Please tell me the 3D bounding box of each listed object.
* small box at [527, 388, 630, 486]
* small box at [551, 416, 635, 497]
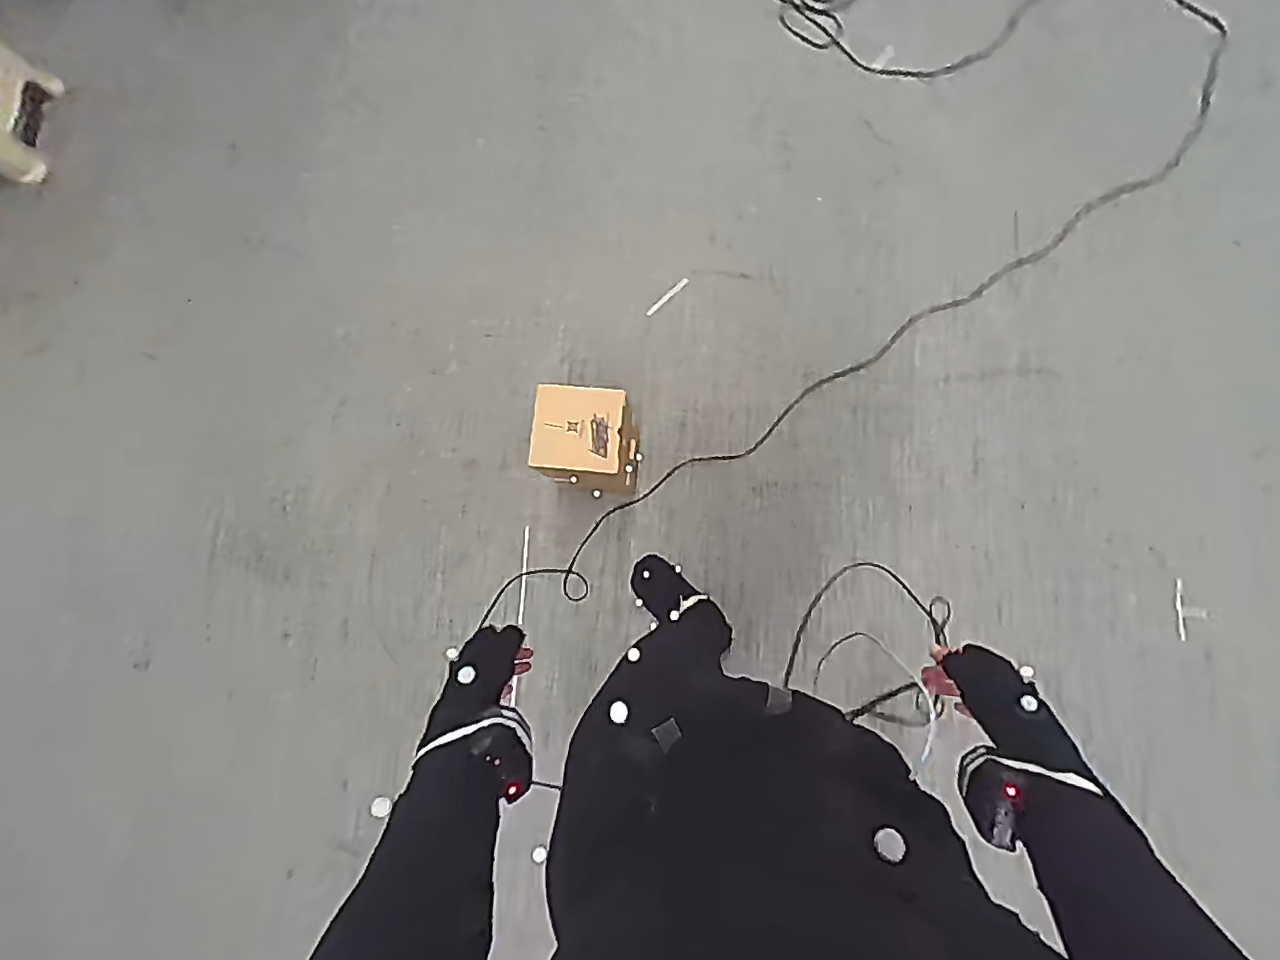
[{"bbox_3d":[-0.118,-0.081,1.114,0.179,0.176,0.168,5,83,5],"label":"small box"},{"bbox_3d":[-0.104,-0.054,1.278,0.179,0.176,0.168,2,80,2],"label":"small box"}]
